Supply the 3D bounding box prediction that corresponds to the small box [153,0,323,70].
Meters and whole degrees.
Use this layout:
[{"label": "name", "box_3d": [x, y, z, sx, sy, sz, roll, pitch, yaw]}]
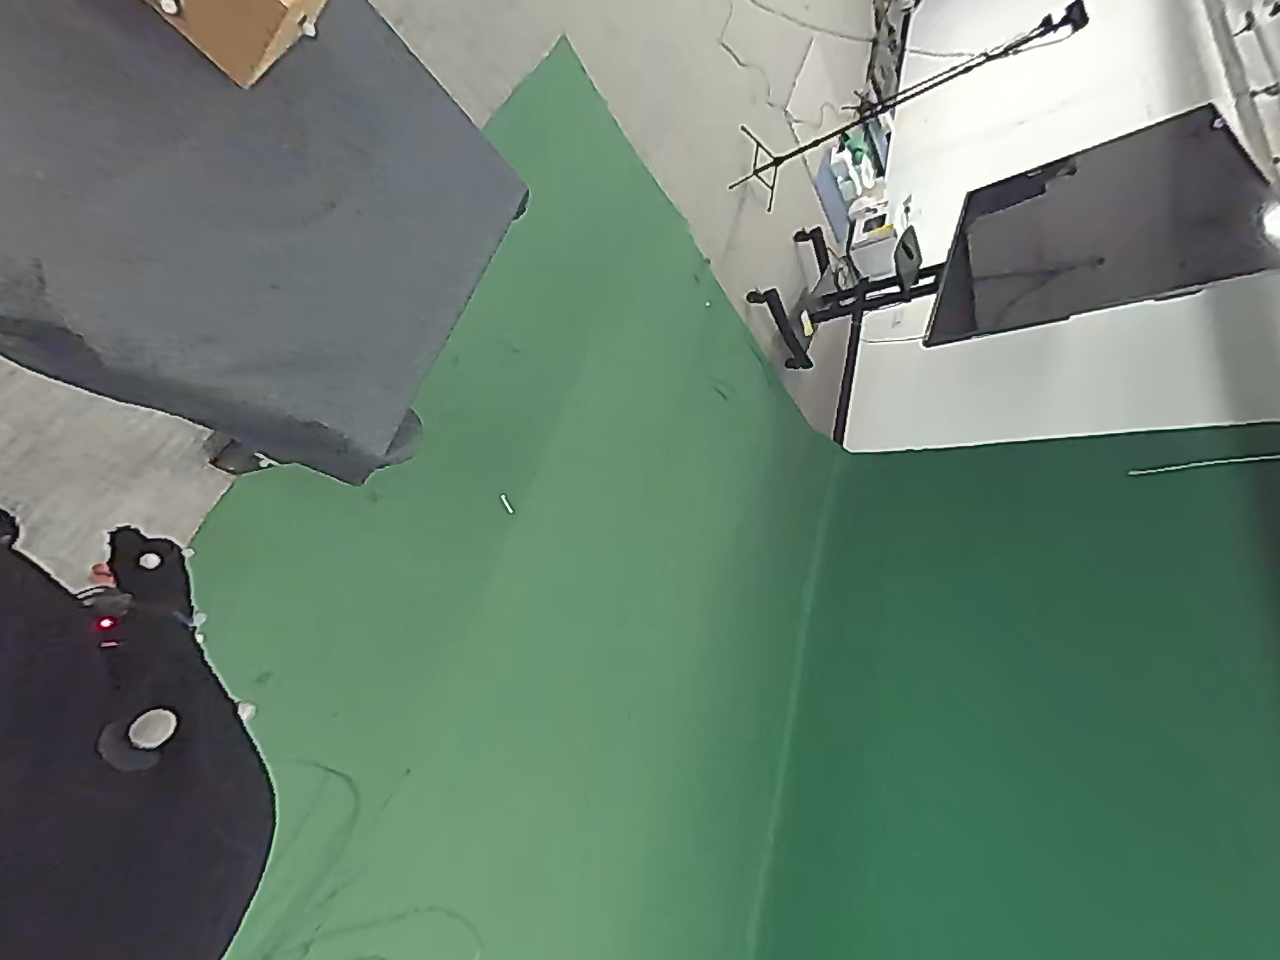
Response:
[{"label": "small box", "box_3d": [-0.465, -0.612, 0.608, 0.179, 0.176, 0.168, 41, 57, -41]}]
